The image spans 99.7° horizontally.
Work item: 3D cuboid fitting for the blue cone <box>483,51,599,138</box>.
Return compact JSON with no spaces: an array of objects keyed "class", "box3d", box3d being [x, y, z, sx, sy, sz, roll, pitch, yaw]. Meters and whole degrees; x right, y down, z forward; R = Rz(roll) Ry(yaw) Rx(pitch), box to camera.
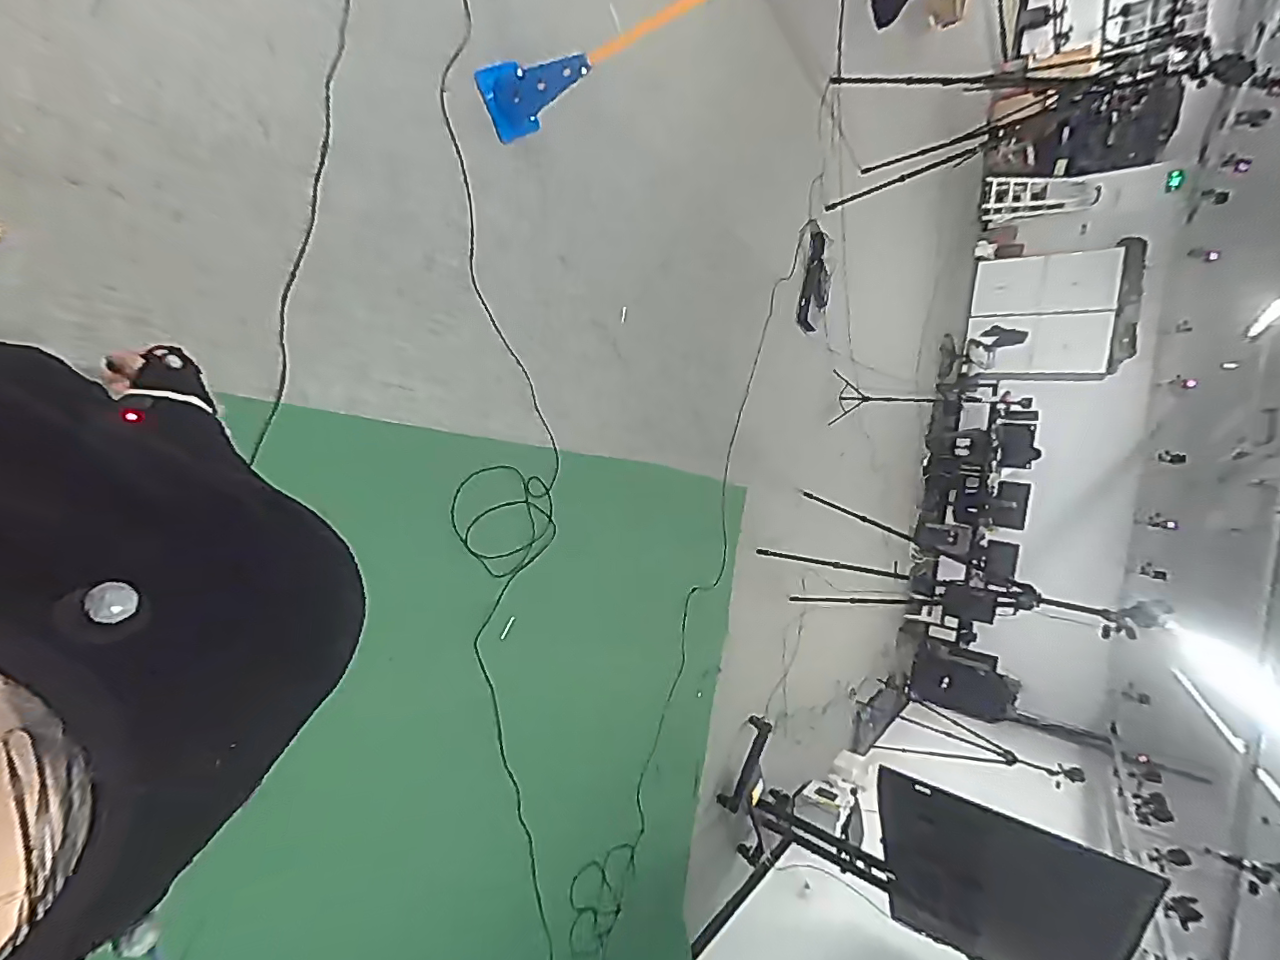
[{"class":"blue cone","box3d":[-0.277,-1.214,1.635,0.193,0.380,0.192,-53,133,-35]}]
